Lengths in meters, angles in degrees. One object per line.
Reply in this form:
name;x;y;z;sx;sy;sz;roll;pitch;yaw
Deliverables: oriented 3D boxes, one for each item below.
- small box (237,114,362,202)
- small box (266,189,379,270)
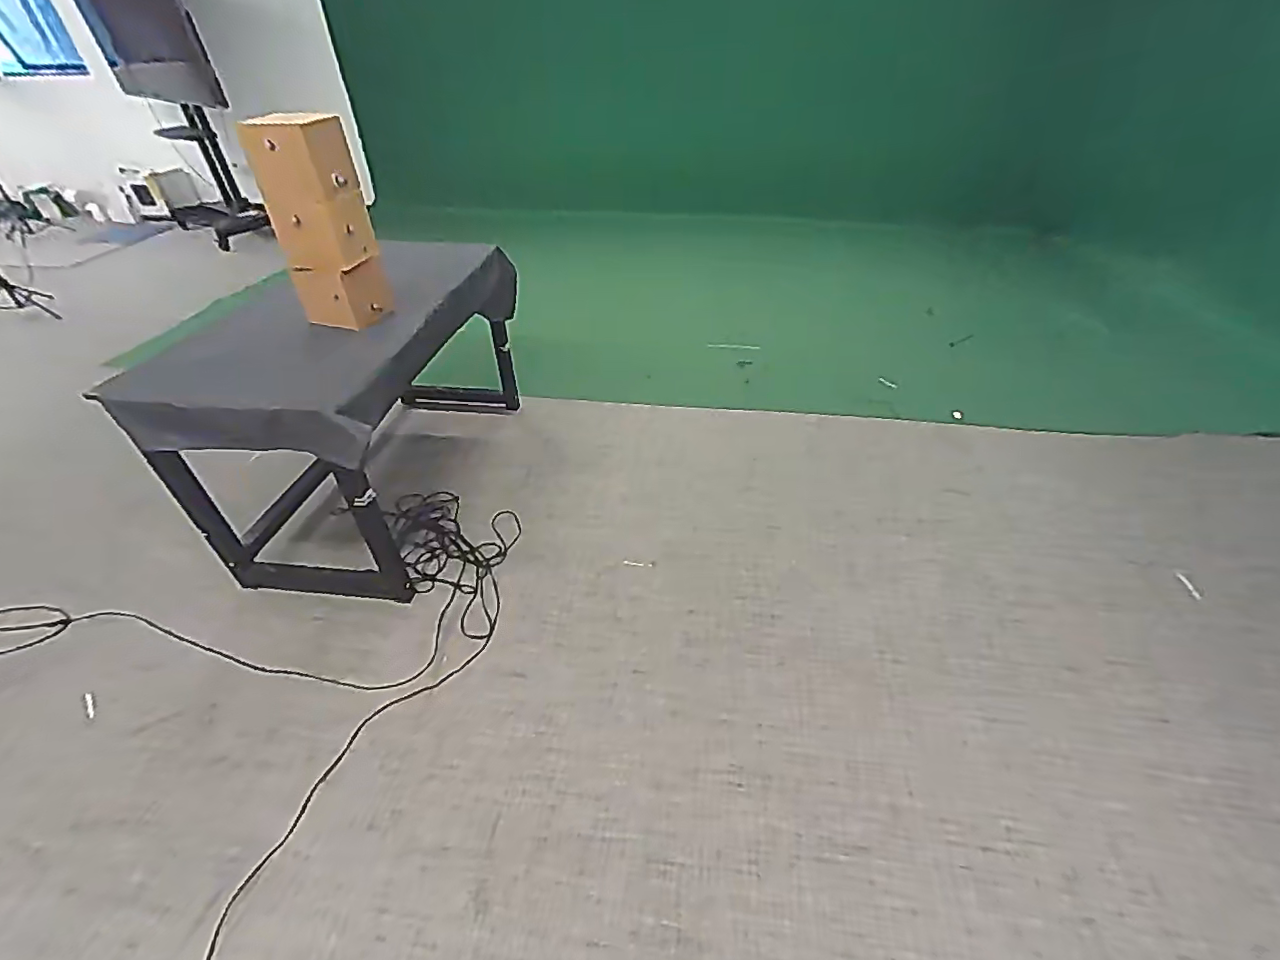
small box;-0.840;-0.805;1.353;0.179;0.176;0.168;5;42;6
small box;-0.838;-0.676;1.452;0.179;0.176;0.168;6;41;8
